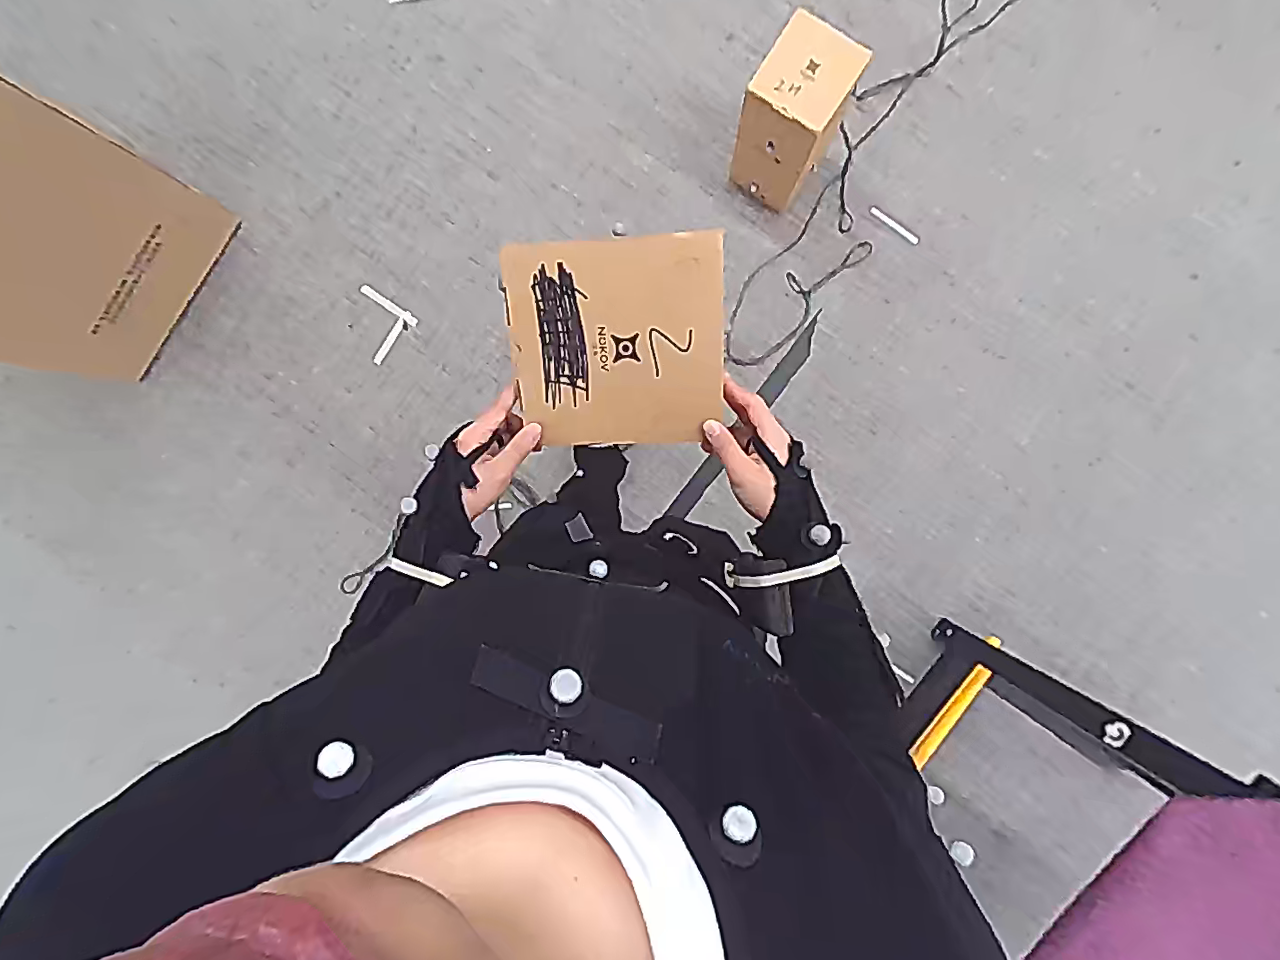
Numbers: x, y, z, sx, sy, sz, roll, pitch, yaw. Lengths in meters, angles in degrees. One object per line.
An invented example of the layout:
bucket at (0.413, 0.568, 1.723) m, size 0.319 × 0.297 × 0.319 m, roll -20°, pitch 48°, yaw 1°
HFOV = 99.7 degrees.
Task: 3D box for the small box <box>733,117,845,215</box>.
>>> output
small box at (0.330, -0.757, 1.243) m, size 0.168 × 0.176 × 0.179 m, roll 36°, pitch 94°, yaw 2°

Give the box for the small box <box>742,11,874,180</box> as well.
small box at (0.321, -0.752, 1.078) m, size 0.168 × 0.176 × 0.179 m, roll 35°, pitch 93°, yaw 2°
